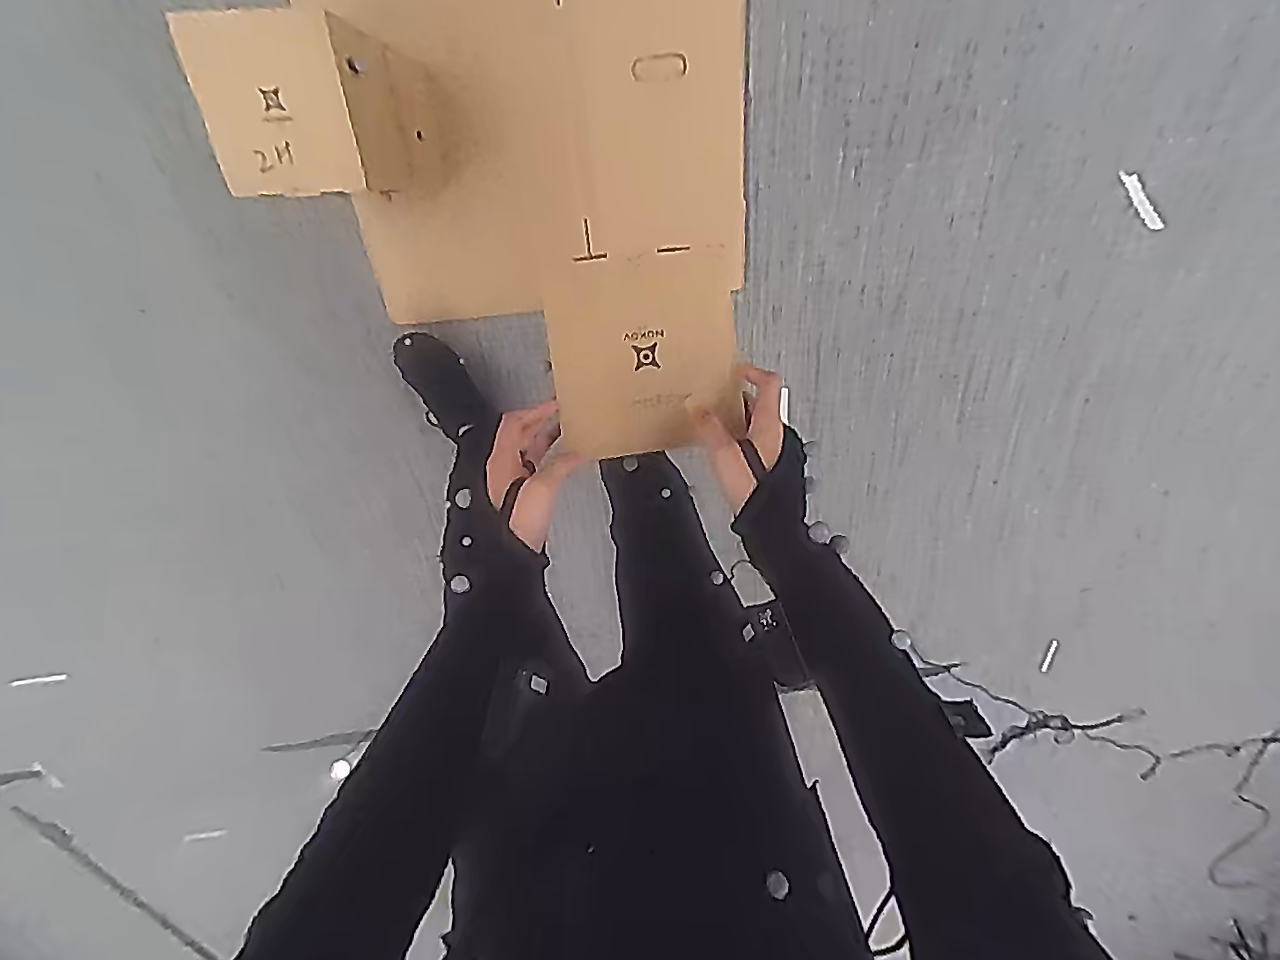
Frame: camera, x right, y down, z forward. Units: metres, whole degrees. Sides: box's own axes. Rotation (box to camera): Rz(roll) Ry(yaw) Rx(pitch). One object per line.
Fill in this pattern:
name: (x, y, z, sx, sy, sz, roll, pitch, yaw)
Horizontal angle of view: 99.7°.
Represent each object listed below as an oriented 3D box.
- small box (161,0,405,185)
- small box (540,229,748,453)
small box: (-0.414, -0.467, 0.667, 0.168, 0.176, 0.179, -3, 121, -2)
small box: (-0.003, -0.124, 0.543, 0.168, 0.176, 0.179, -8, 93, -4)
